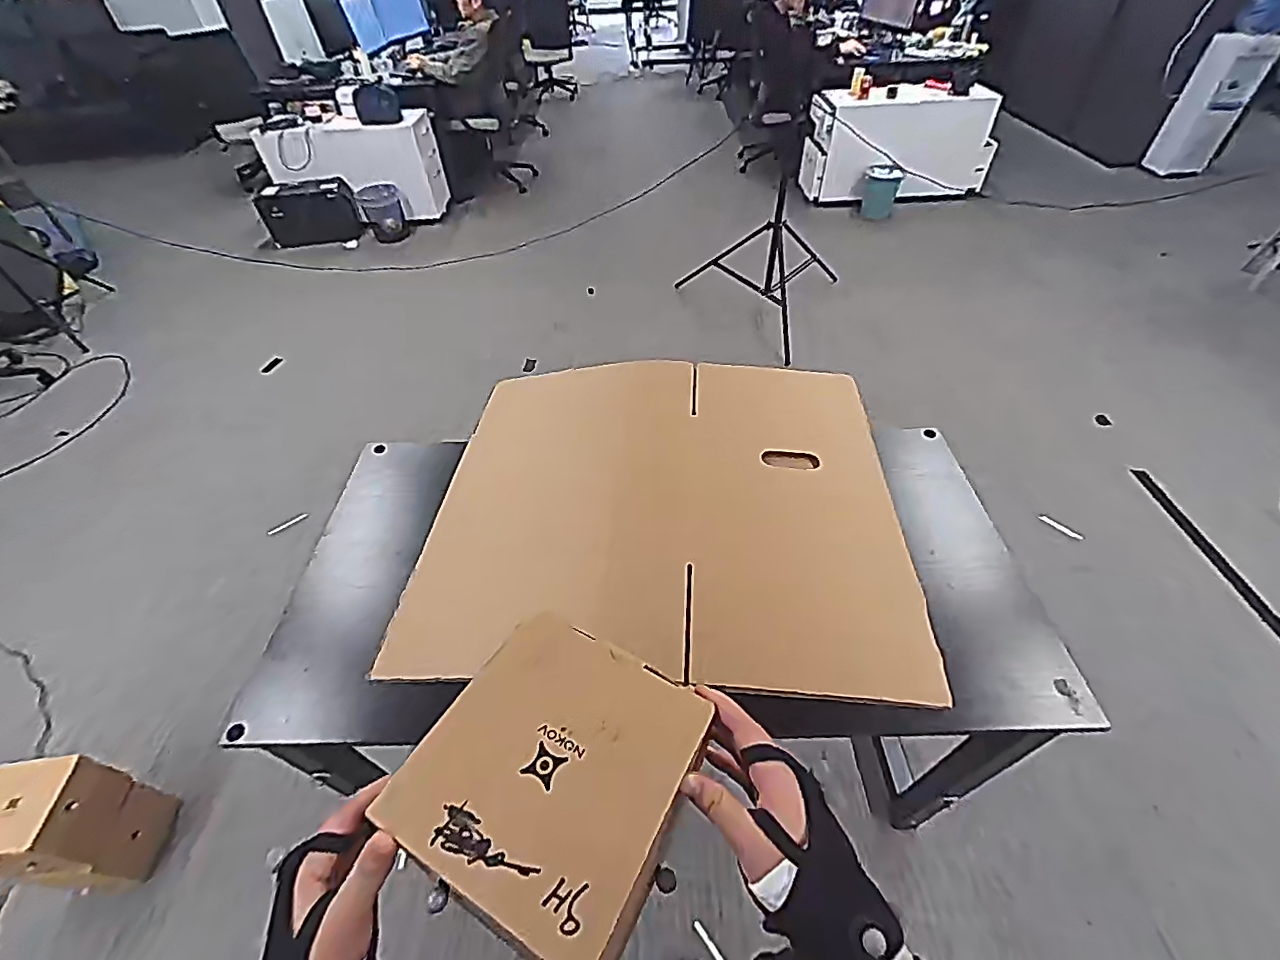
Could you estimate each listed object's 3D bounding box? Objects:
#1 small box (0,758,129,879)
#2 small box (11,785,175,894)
[{"bbox_3d":[-1.232,0.705,1.120,0.168,0.176,0.179,-6,46,-4],"label":"small box"},{"bbox_3d":[-1.224,0.820,1.234,0.168,0.176,0.179,-5,47,-2],"label":"small box"}]
